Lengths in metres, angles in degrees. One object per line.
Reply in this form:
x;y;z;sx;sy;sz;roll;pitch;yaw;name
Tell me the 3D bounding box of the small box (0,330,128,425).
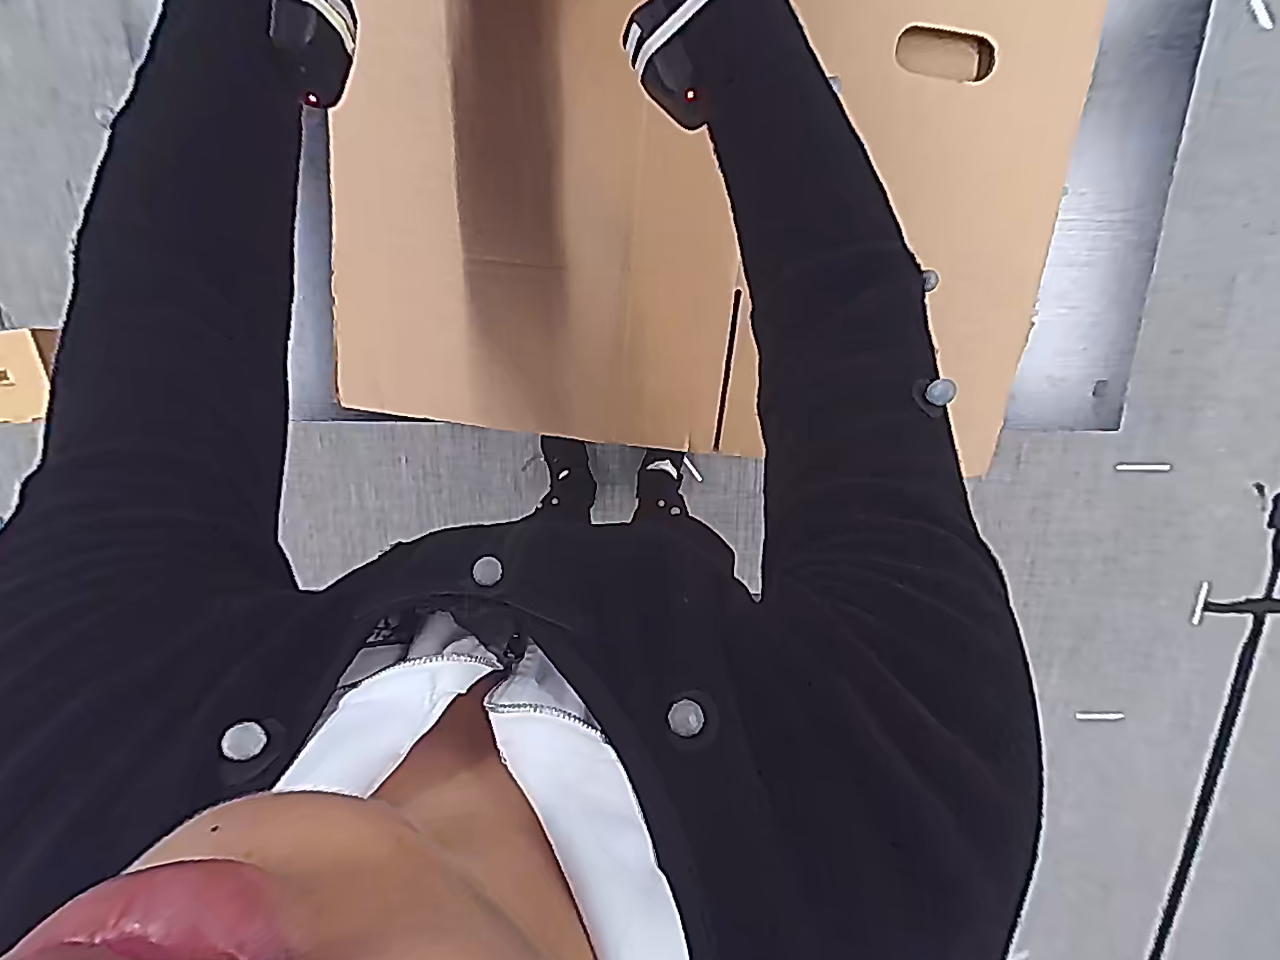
-1.249;-0.219;1.143;0.168;0.176;0.179;-6;103;-1;small box
